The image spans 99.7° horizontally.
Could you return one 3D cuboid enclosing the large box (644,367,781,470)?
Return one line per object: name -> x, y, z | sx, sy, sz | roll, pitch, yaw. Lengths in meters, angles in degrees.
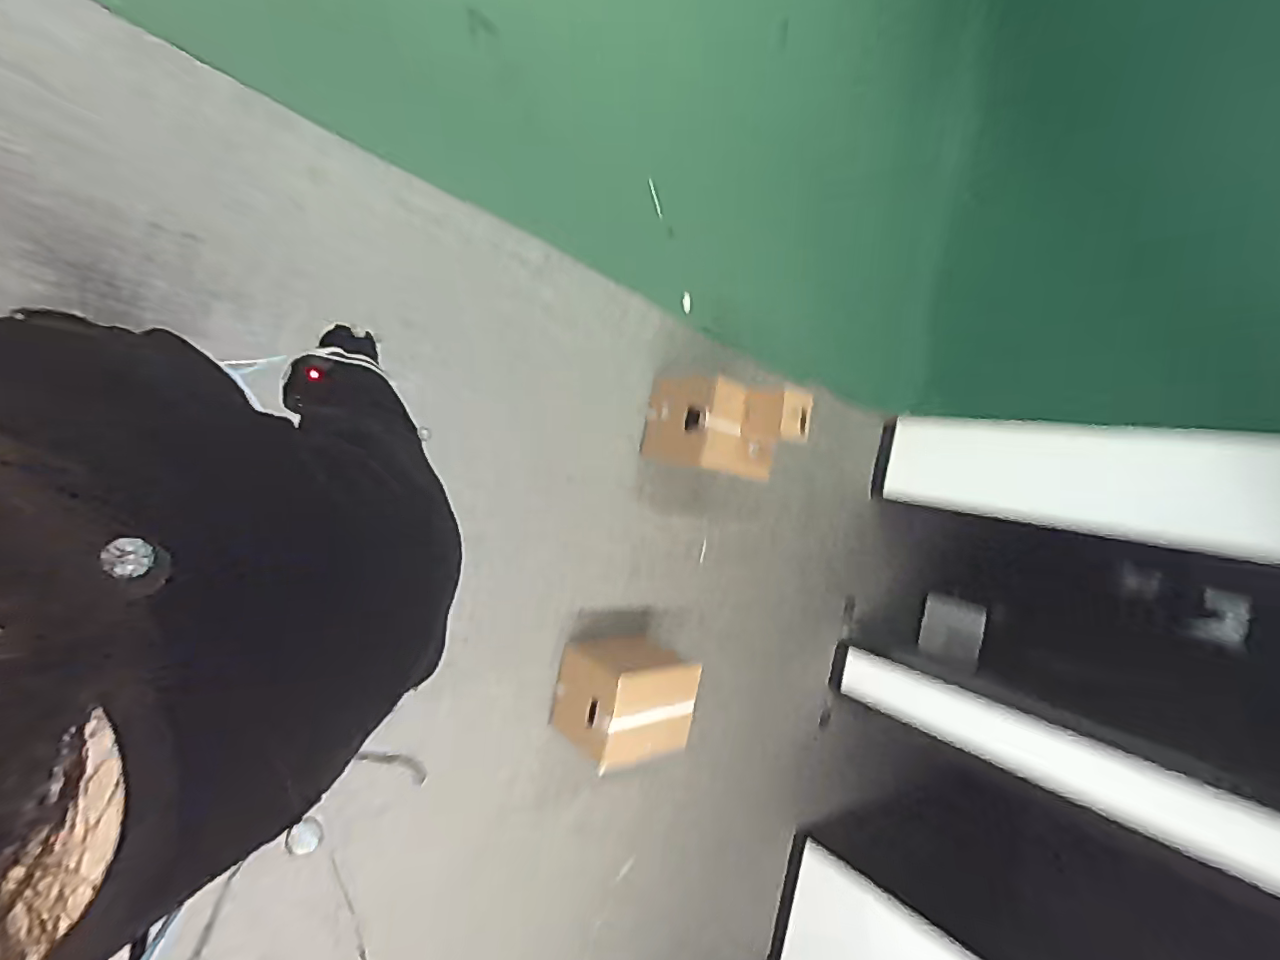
large box -> 0.275, -0.228, 2.054 | 0.408, 0.320, 0.320 | 9, 92, -43
